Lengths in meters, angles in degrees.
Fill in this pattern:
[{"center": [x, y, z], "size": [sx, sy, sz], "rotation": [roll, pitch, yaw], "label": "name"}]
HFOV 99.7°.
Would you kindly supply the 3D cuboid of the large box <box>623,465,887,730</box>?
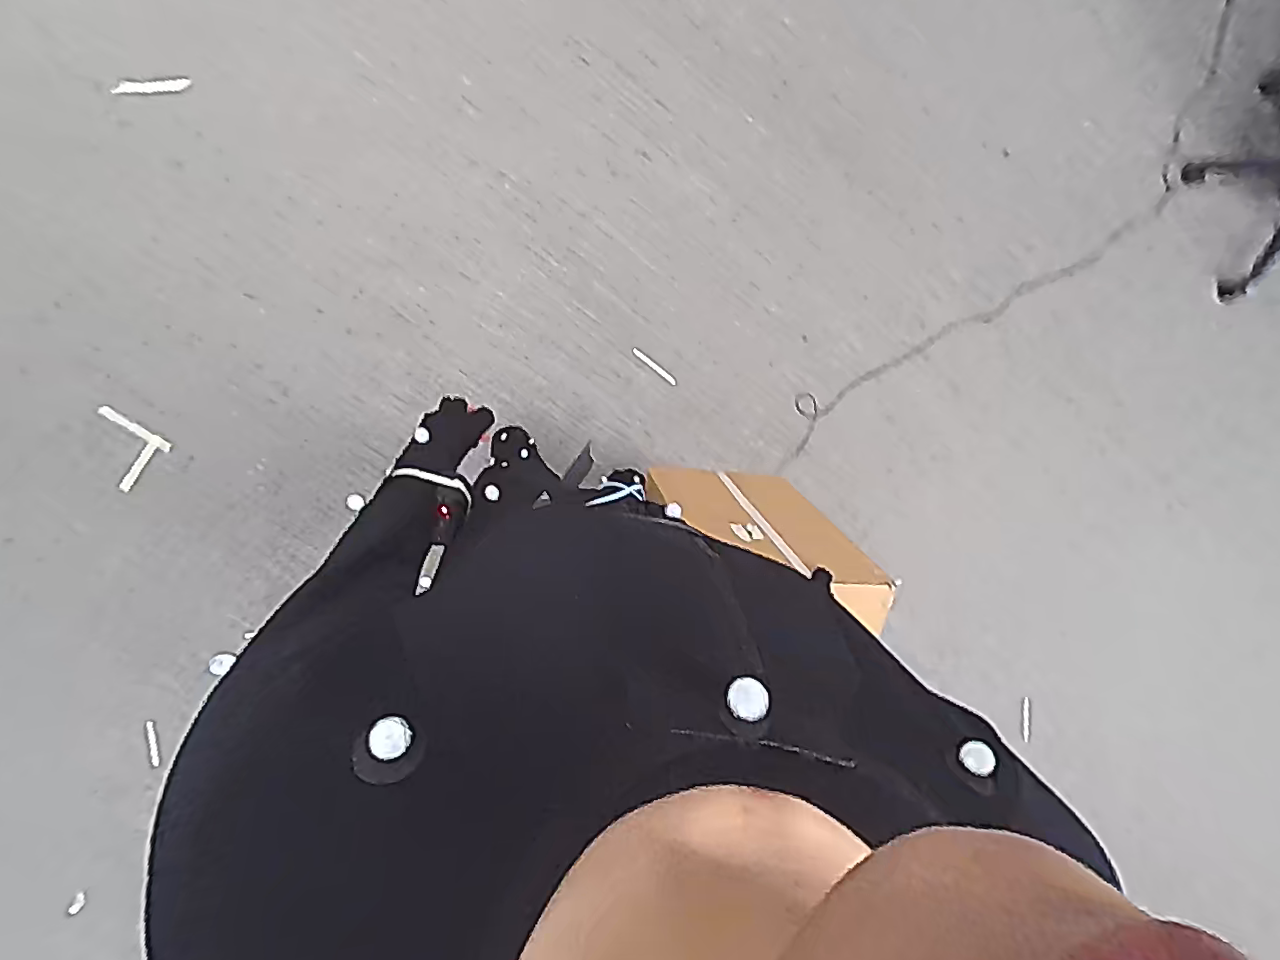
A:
[{"center": [0.172, 0.197, 1.033], "size": [0.320, 0.408, 0.320], "rotation": [2, 115, -15], "label": "large box"}]
